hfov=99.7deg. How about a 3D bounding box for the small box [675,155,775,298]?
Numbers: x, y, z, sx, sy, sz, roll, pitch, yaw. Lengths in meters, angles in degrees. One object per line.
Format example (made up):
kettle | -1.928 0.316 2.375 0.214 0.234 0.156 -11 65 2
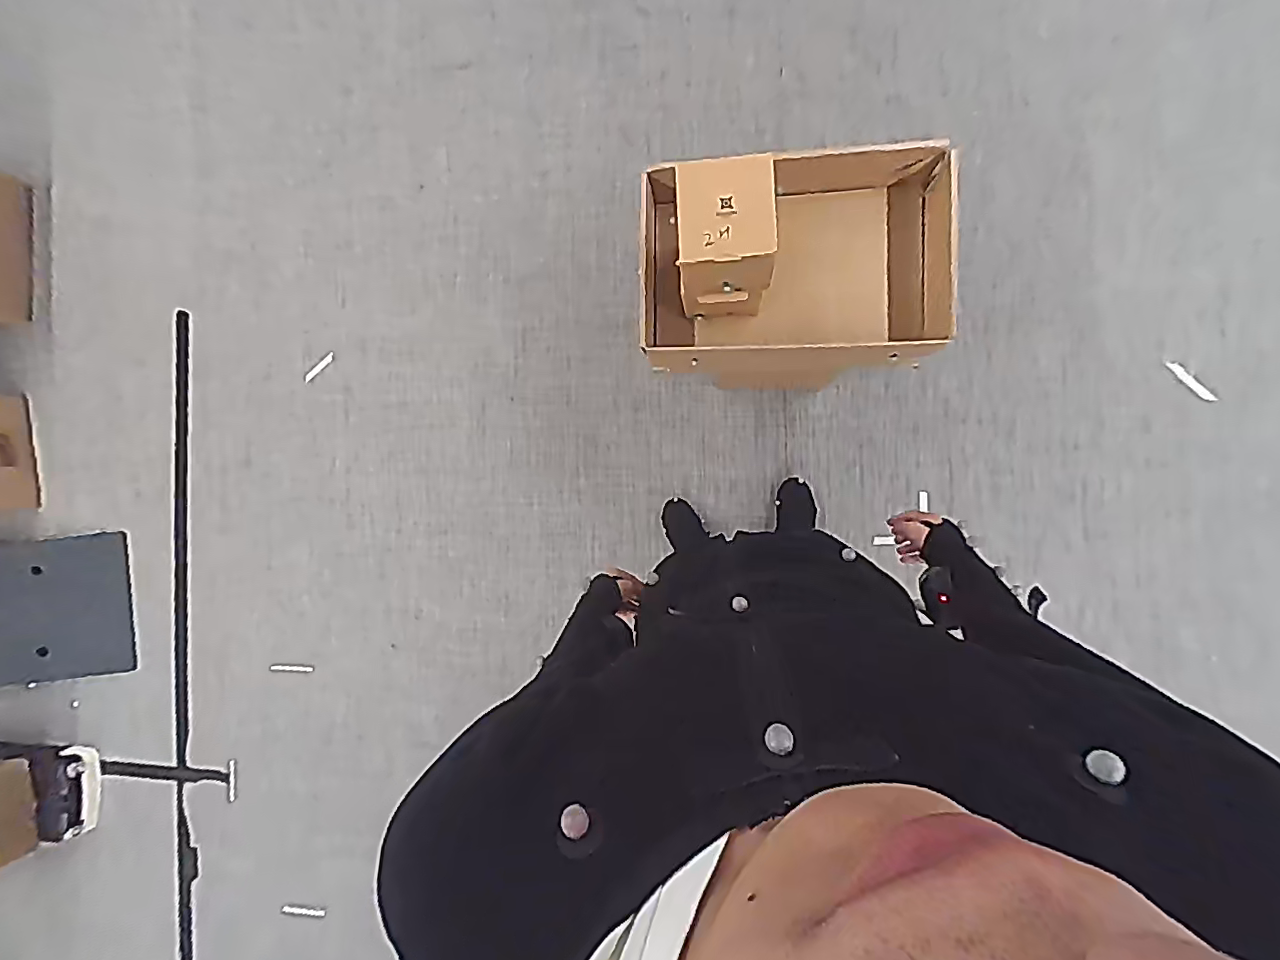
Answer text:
small box | 0.152 -0.453 0.989 0.168 0.176 0.179 -2 89 9

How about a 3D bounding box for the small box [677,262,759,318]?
small box | 0.168 -0.455 1.153 0.168 0.176 0.179 -1 88 8
